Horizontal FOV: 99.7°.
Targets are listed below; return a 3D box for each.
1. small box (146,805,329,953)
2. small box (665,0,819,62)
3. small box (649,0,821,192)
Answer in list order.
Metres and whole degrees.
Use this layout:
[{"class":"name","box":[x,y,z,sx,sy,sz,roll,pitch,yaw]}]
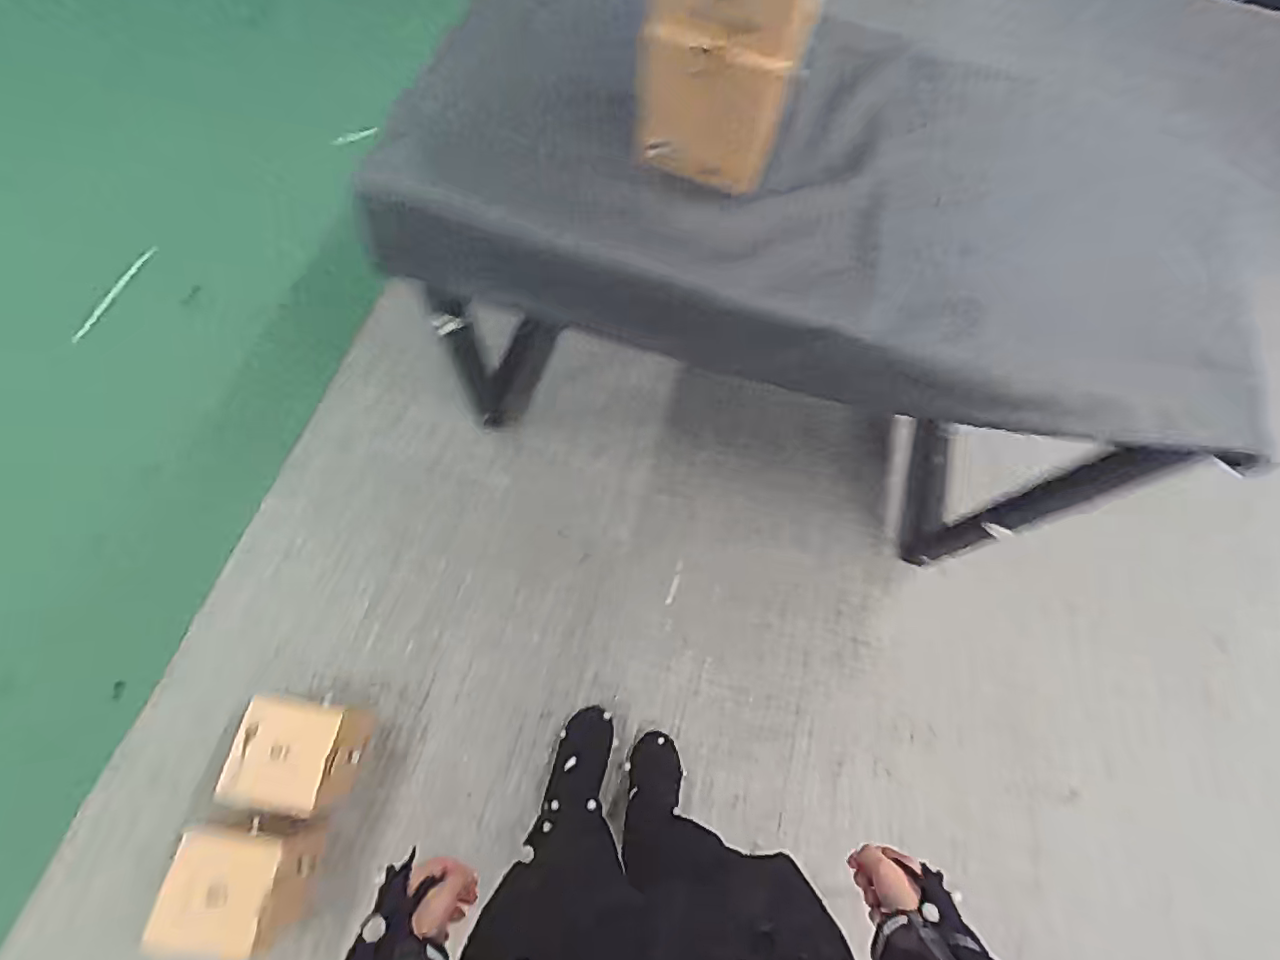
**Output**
[{"class":"small box","box":[-0.700,0.700,0.970,0.179,0.176,0.168,10,67,0]},{"class":"small box","box":[0.131,-0.602,0.576,0.168,0.176,0.179,19,68,3]},{"class":"small box","box":[0.116,-0.528,0.724,0.168,0.176,0.179,21,68,3]}]
